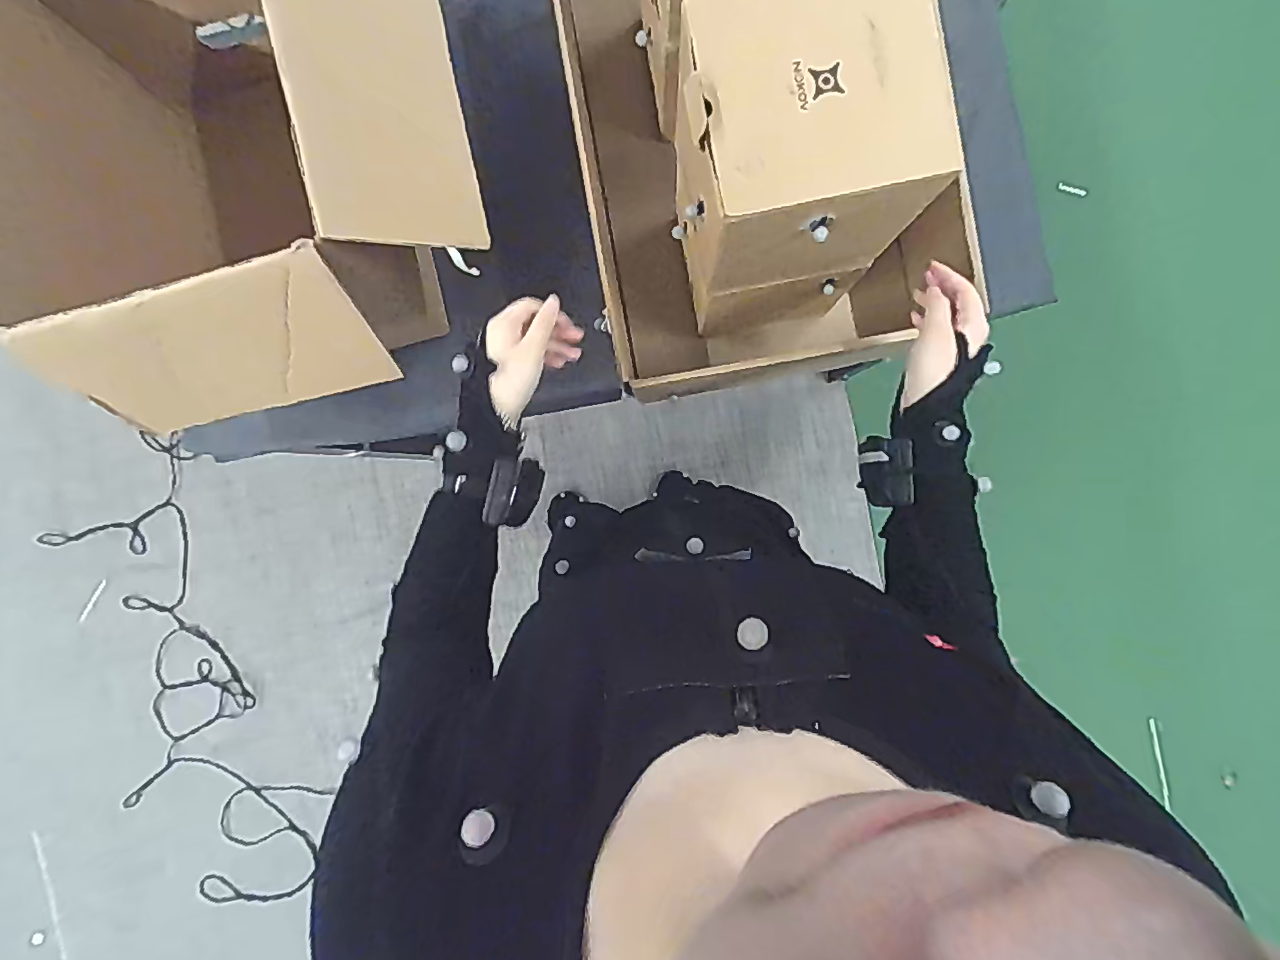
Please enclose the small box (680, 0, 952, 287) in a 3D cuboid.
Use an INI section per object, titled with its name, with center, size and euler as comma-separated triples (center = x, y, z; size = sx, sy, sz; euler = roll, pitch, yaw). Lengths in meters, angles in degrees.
[small box]
center = 0.132, -0.287, 0.477
size = 0.179, 0.176, 0.168
euler = -11, 91, 1
